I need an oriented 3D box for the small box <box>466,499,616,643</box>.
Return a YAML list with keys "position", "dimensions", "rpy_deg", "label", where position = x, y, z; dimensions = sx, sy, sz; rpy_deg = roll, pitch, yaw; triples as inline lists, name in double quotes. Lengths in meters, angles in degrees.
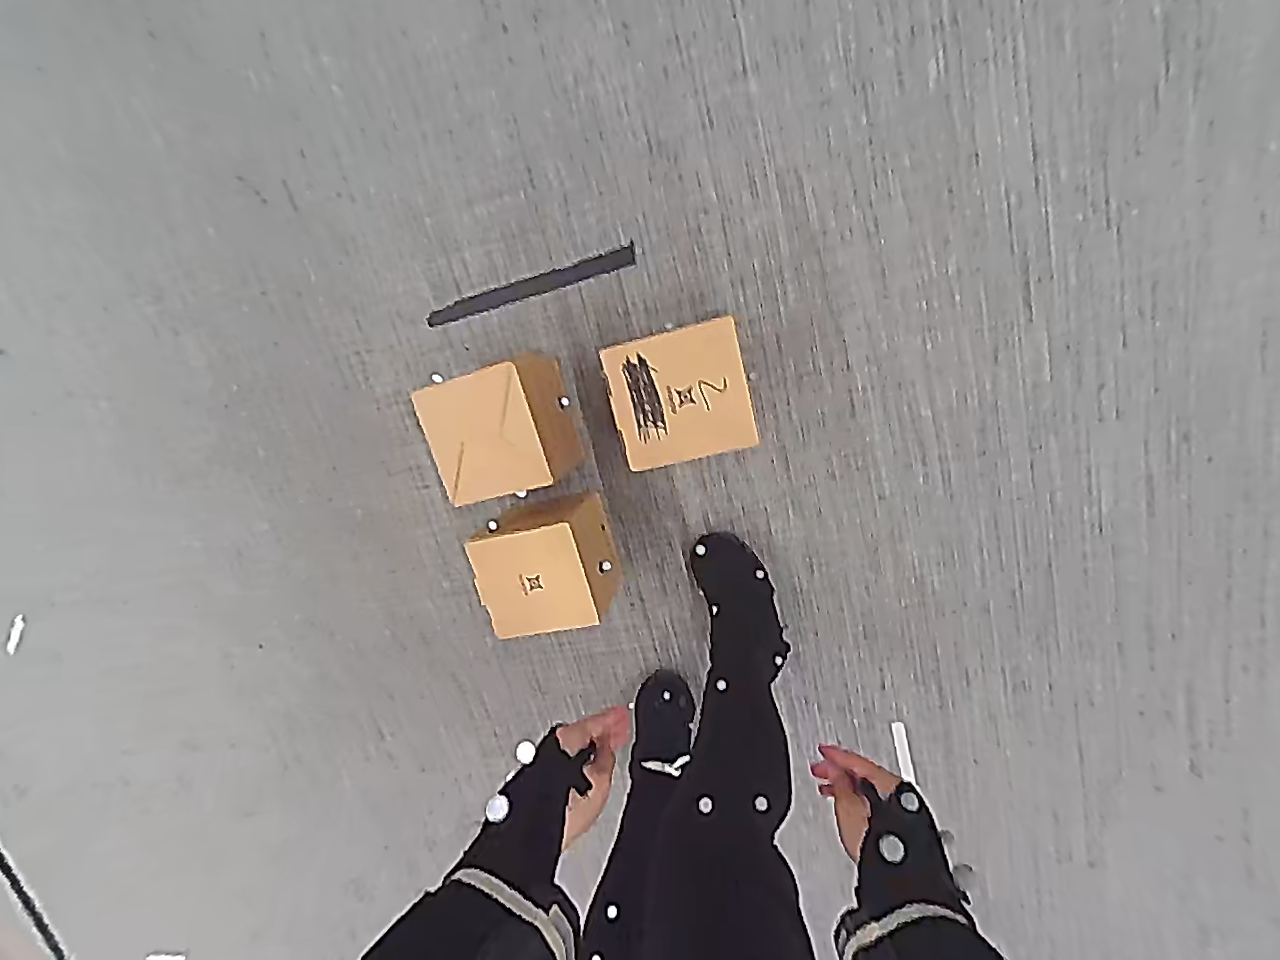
- position: [-0.146, 0.140, 0.881]
  dimensions: [0.179, 0.176, 0.168]
  rpy_deg: [-12, 102, 14]
  label: "small box"
